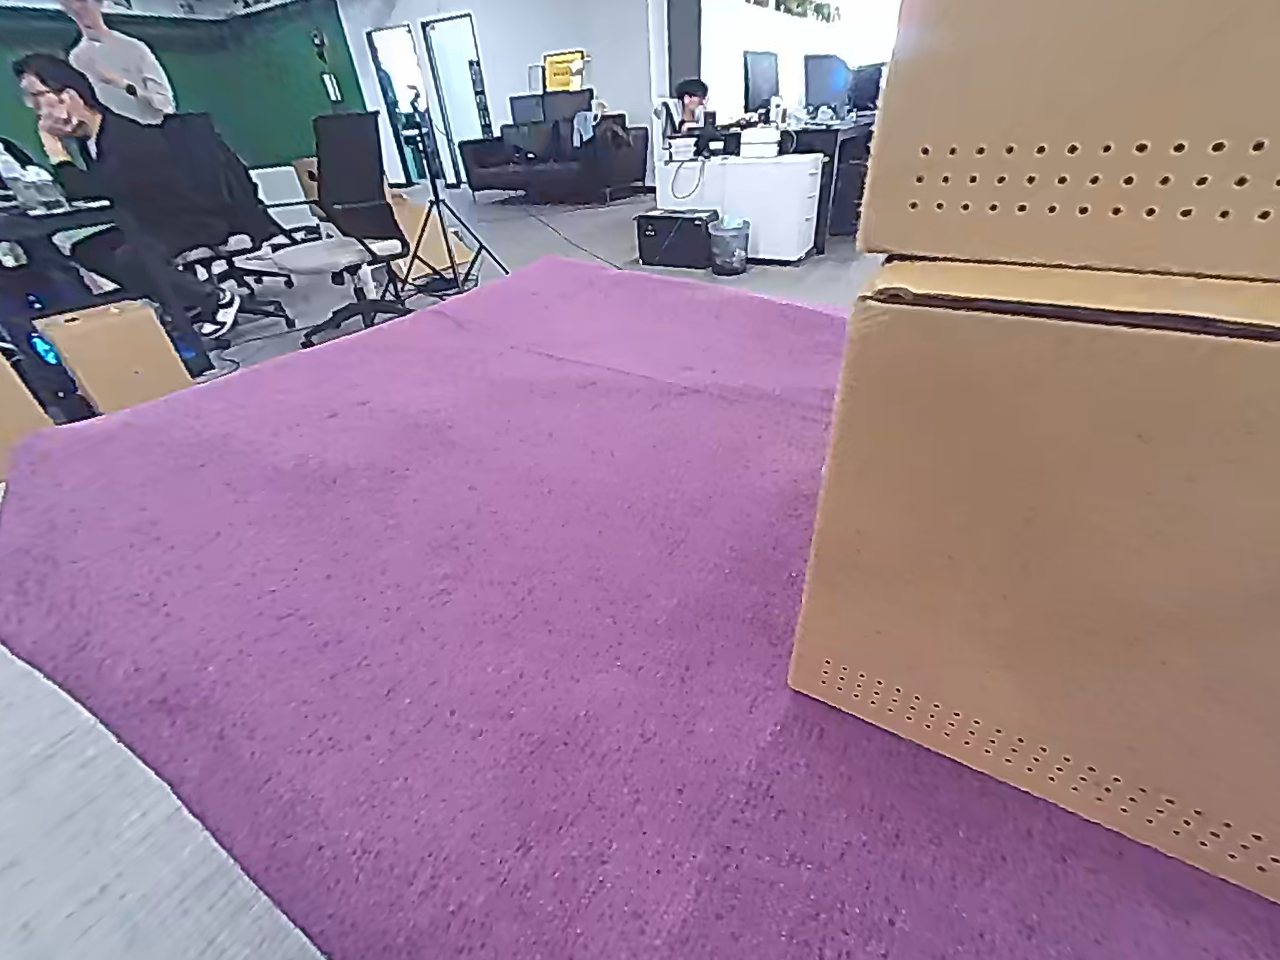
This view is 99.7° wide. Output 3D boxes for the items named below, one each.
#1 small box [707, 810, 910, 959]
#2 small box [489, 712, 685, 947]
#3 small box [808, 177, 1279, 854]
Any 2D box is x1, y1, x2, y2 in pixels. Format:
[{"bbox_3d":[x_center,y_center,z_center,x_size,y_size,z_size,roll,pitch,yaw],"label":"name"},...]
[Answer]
[{"bbox_3d":[0.178,0.514,0.588,0.179,0.176,0.168,16,2,26],"label":"small box"},{"bbox_3d":[-0.054,0.438,0.680,0.179,0.176,0.168,16,40,26],"label":"small box"},{"bbox_3d":[0.179,-0.006,0.201,0.179,0.176,0.168,17,38,27],"label":"small box"}]
